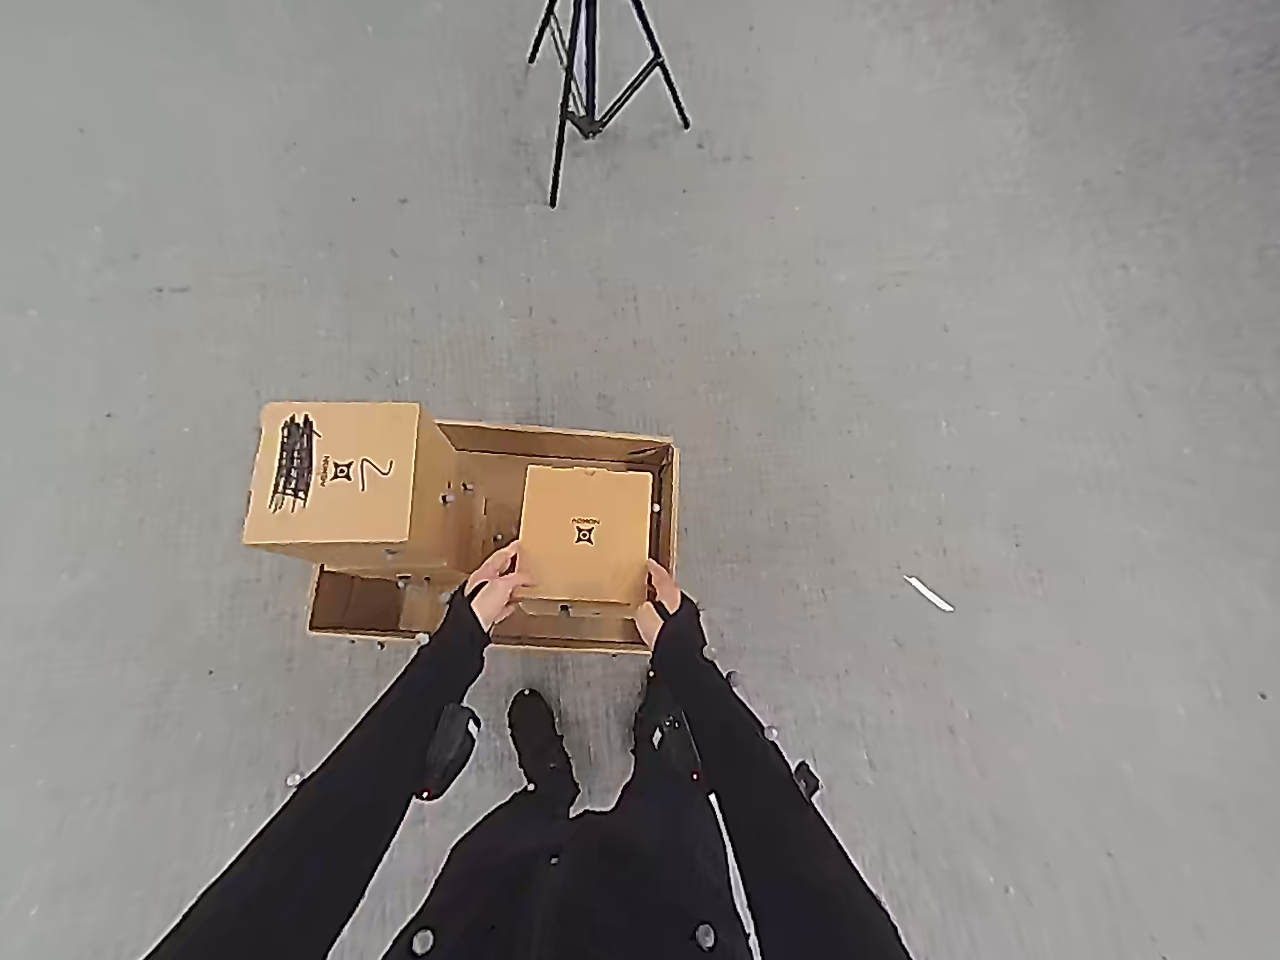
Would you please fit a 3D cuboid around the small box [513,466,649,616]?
[{"bbox_3d":[-0.076,0.094,0.761,0.168,0.176,0.179,3,69,-4],"label":"small box"}]

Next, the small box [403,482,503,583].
[{"bbox_3d":[-0.359,0.101,0.994,0.179,0.176,0.168,2,75,-5],"label":"small box"}]

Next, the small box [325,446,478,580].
[{"bbox_3d":[-0.353,0.057,0.835,0.168,0.176,0.179,-1,75,-4],"label":"small box"}]
